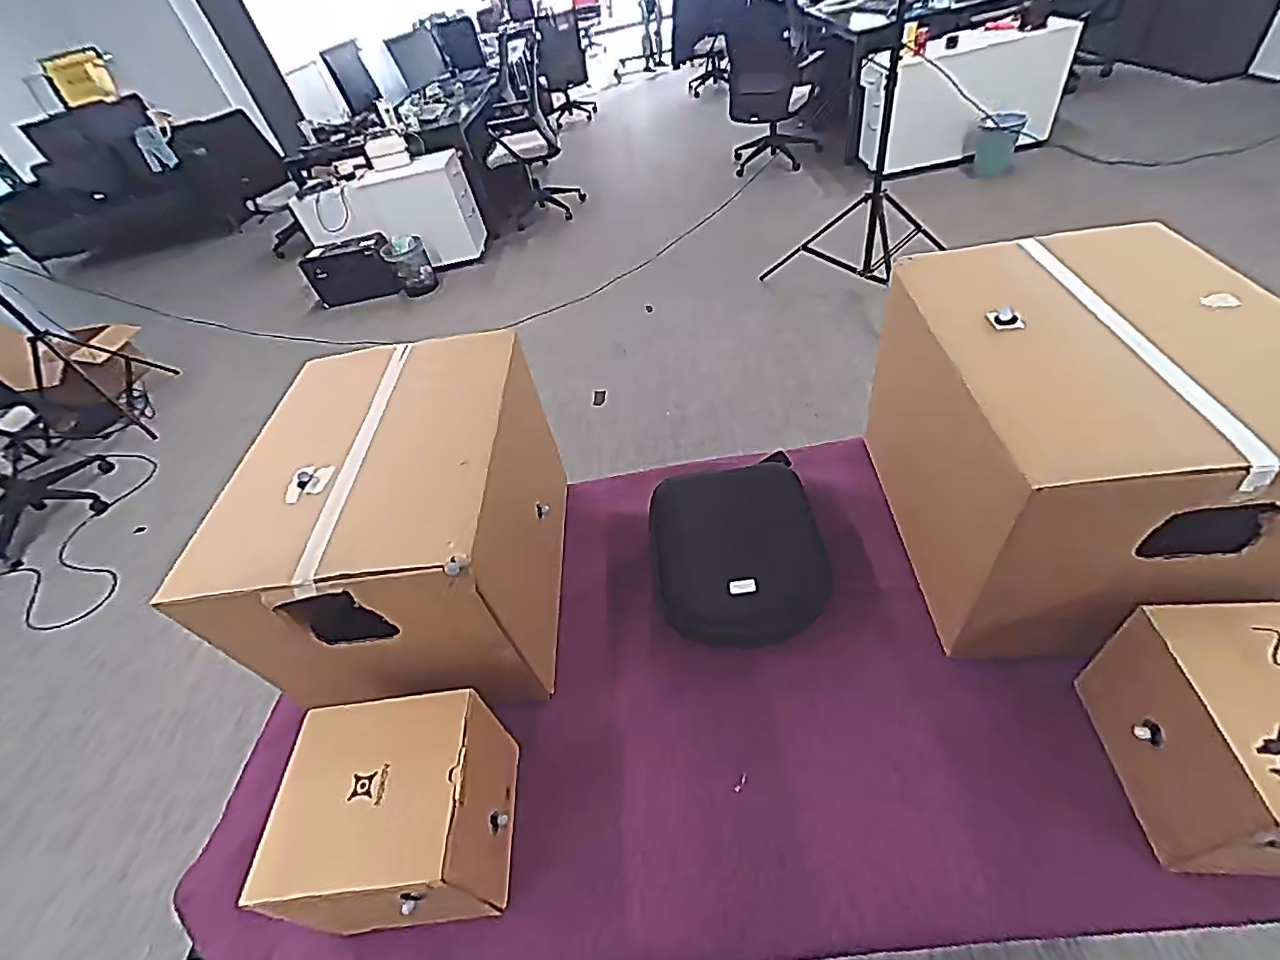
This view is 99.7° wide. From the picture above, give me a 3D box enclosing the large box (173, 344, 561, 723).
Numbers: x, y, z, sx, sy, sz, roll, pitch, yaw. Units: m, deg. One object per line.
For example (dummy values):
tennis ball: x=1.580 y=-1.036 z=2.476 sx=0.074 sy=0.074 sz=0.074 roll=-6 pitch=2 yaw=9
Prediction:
large box: x=-0.296 y=0.069 z=0.753 sx=0.320 sy=0.320 sz=0.408 roll=-9 pitch=47 yaw=4
